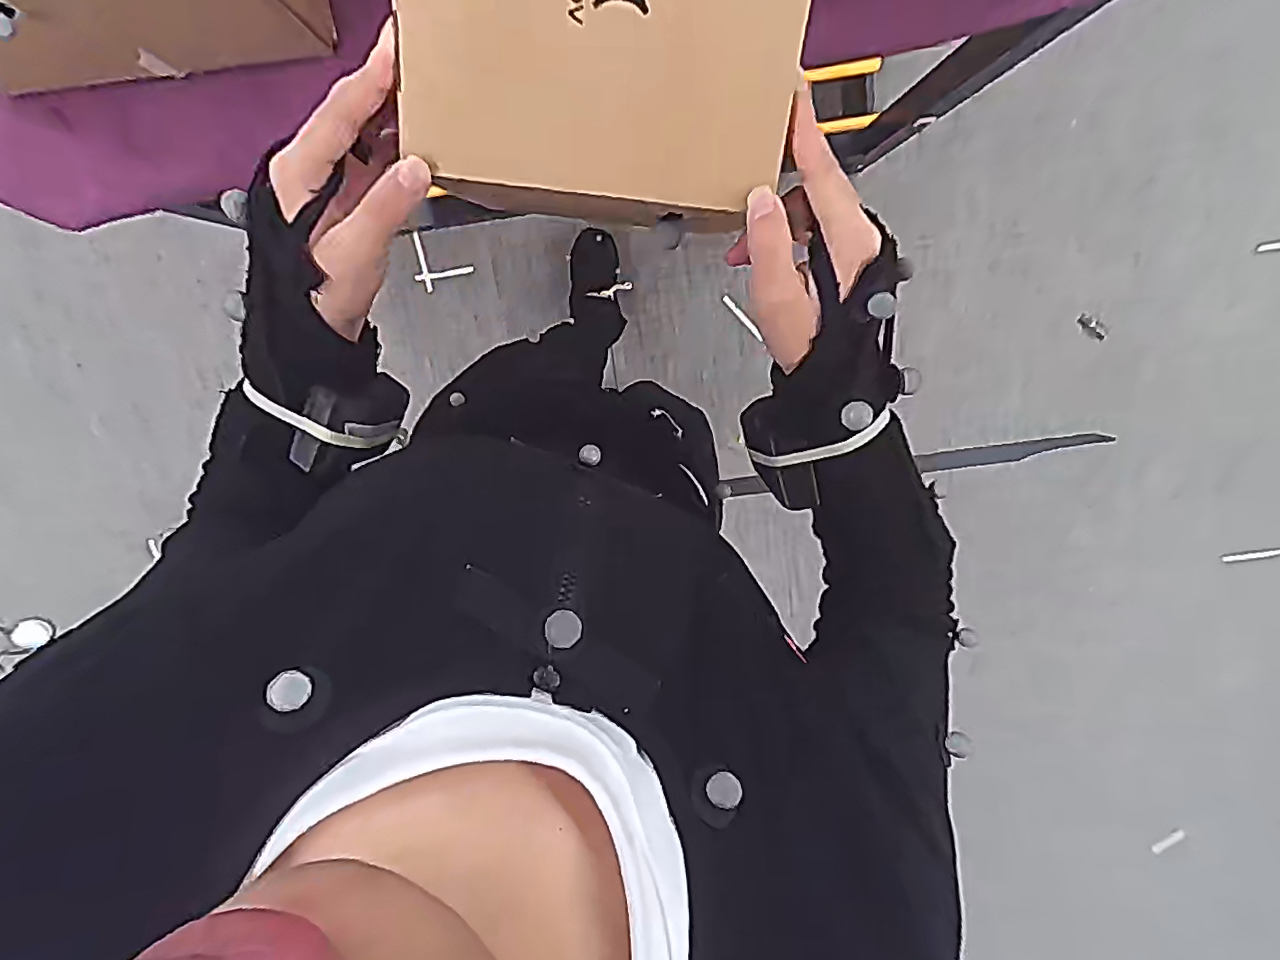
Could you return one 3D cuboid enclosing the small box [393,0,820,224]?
[{"bbox_3d":[-0.012,-0.240,0.288,0.179,0.176,0.168,6,110,-2],"label":"small box"}]
